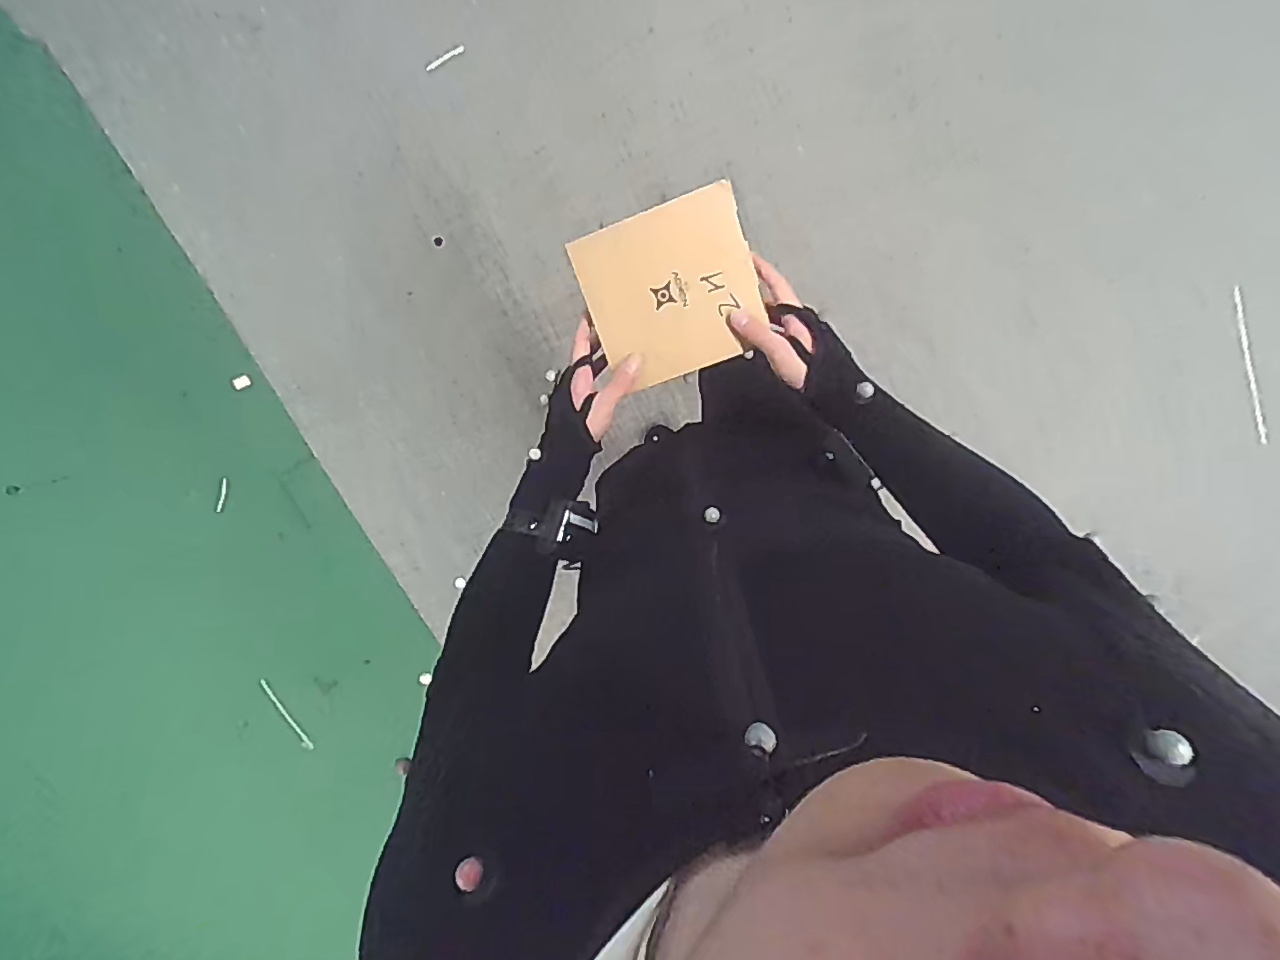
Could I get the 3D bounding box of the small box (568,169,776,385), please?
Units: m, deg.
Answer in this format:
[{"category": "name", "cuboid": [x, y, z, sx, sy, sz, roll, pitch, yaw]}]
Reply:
[{"category": "small box", "cuboid": [0.039, -0.220, 0.623, 0.179, 0.176, 0.168, -18, 105, 8]}]
